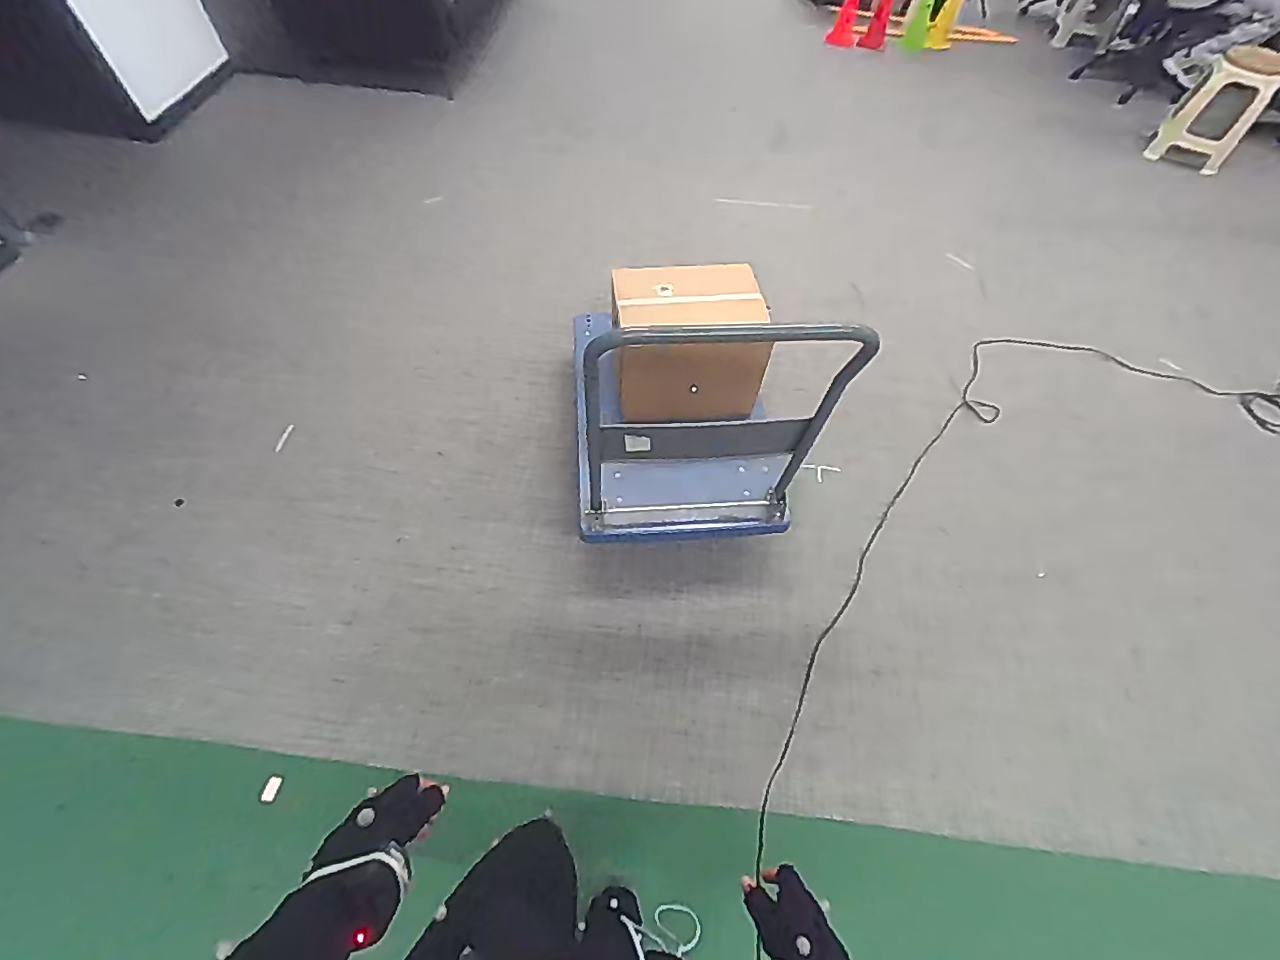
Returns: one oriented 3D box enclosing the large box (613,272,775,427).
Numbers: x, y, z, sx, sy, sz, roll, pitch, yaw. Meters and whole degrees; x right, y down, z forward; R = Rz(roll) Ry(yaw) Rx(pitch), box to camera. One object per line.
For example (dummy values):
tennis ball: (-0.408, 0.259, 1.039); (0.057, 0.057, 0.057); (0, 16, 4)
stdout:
large box: (0.136, -0.380, 1.602); (0.408, 0.320, 0.320); (-5, 56, -5)
